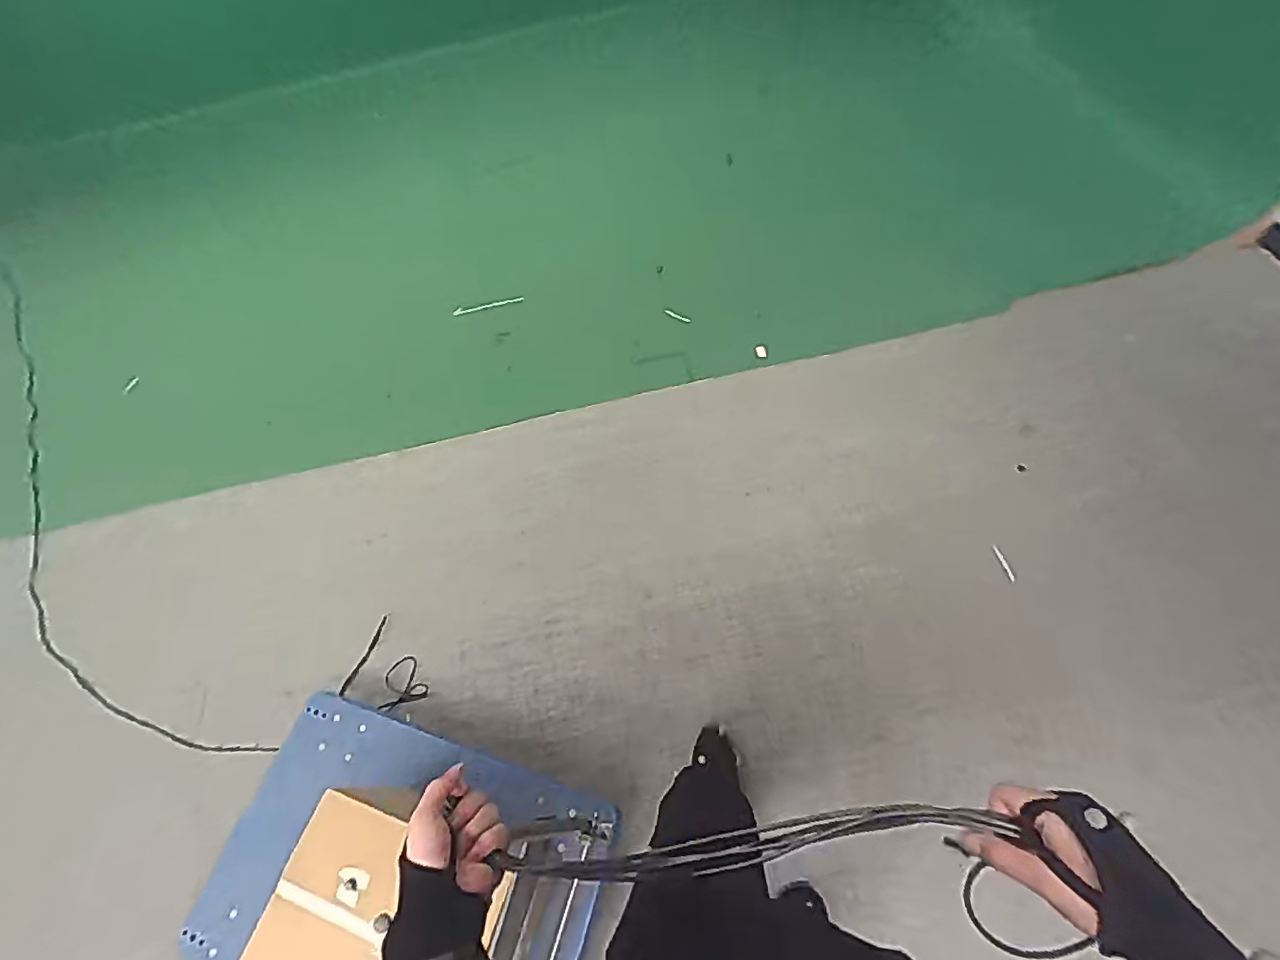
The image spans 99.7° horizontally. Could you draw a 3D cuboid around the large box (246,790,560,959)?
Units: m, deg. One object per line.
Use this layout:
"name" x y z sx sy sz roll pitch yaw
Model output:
"large box" -0.418 0.824 1.026 0.408 0.320 0.320 12 63 16
